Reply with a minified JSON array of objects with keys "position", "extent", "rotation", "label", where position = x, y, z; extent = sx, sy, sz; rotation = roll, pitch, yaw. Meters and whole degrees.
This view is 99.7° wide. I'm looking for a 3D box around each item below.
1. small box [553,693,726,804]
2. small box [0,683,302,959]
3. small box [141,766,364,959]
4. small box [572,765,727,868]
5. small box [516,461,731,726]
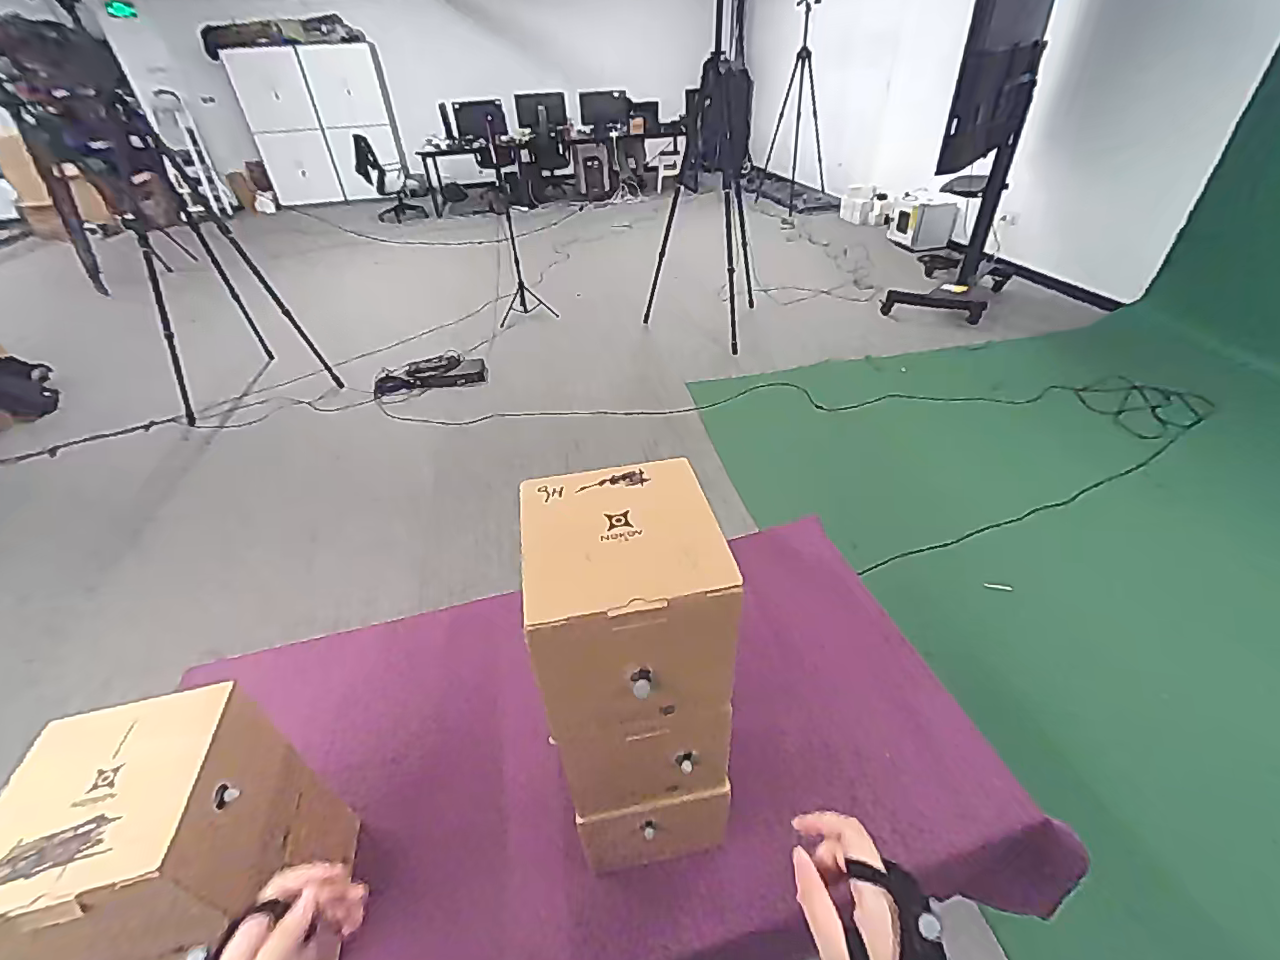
[{"position":[-0.005,0.238,0.610],"extent":[0.168,0.176,0.179],"rotation":[-8,37,-5],"label":"small box"},{"position":[-0.466,0.339,0.530],"extent":[0.168,0.176,0.179],"rotation":[-11,37,-9],"label":"small box"},{"position":[-0.453,0.472,0.627],"extent":[0.179,0.176,0.168],"rotation":[-11,38,-9],"label":"small box"},{"position":[0.008,0.371,0.702],"extent":[0.179,0.176,0.168],"rotation":[-9,38,-5],"label":"small box"},{"position":[-0.018,0.108,0.510],"extent":[0.168,0.176,0.179],"rotation":[-9,38,-6],"label":"small box"}]
